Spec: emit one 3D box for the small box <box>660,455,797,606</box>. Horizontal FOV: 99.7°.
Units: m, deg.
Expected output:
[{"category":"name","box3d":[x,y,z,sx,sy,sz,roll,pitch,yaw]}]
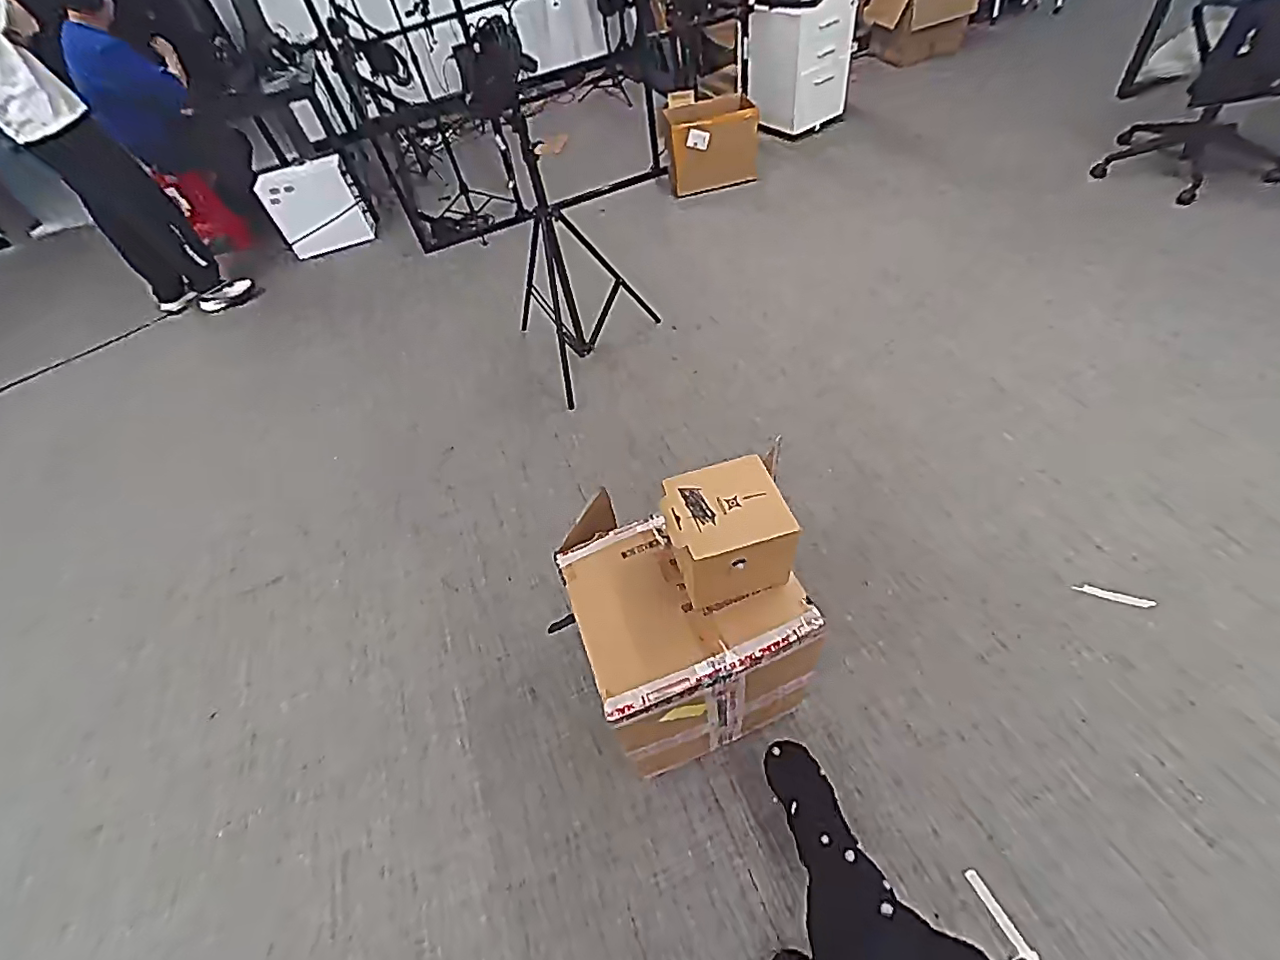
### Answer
[{"category":"small box","box3d":[0.144,0.090,0.916,0.179,0.176,0.168,-16,52,-6]}]
